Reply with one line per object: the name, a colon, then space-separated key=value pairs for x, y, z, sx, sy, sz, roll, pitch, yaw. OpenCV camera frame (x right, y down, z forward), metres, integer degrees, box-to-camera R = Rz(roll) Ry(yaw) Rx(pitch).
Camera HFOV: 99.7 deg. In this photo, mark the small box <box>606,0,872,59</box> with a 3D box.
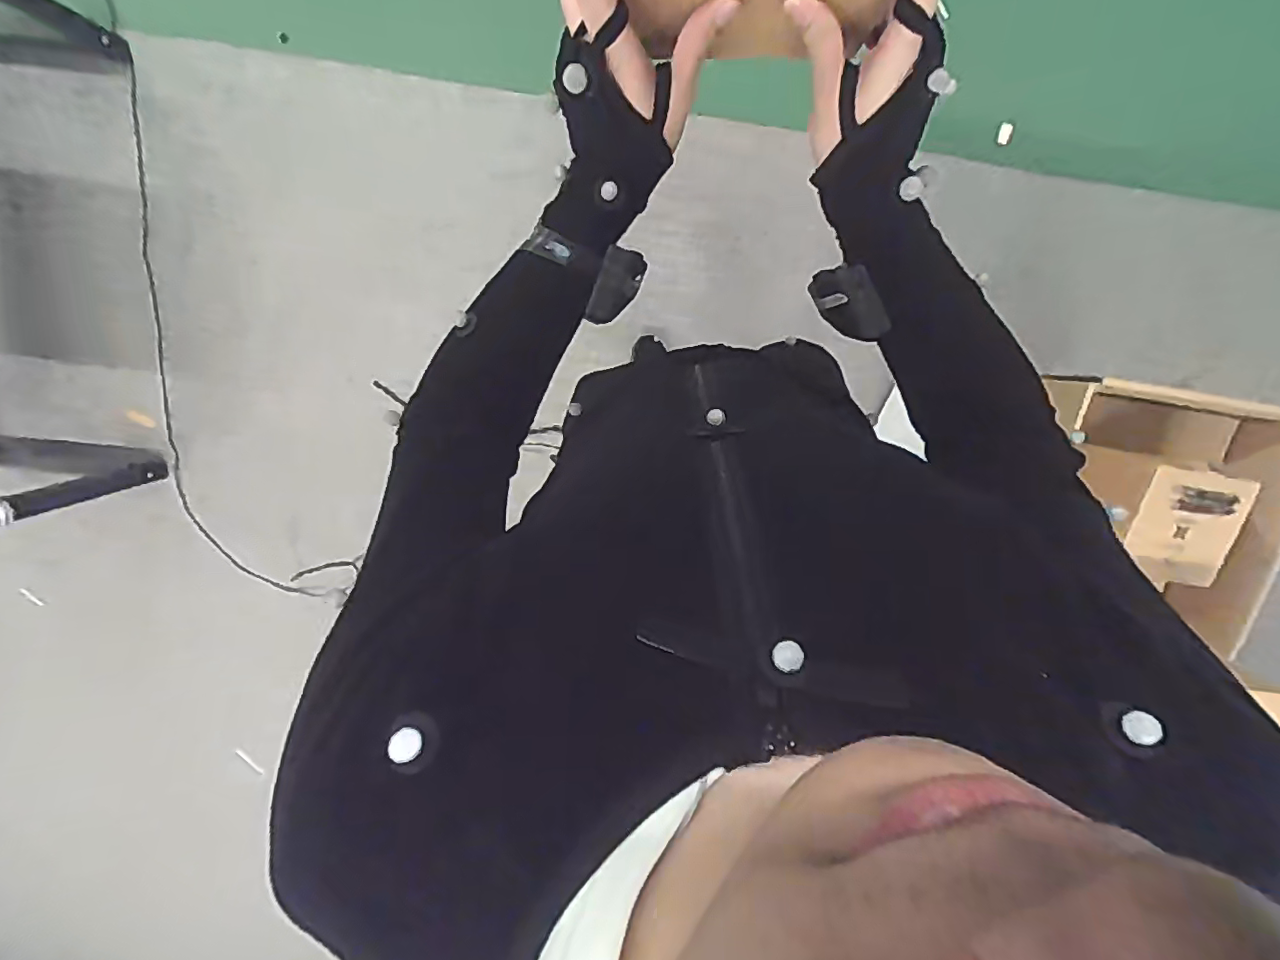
small box: x=0.064 y=-0.369 z=0.301 sx=0.179 sy=0.176 sz=0.168 roll=0 pitch=103 yaw=1
